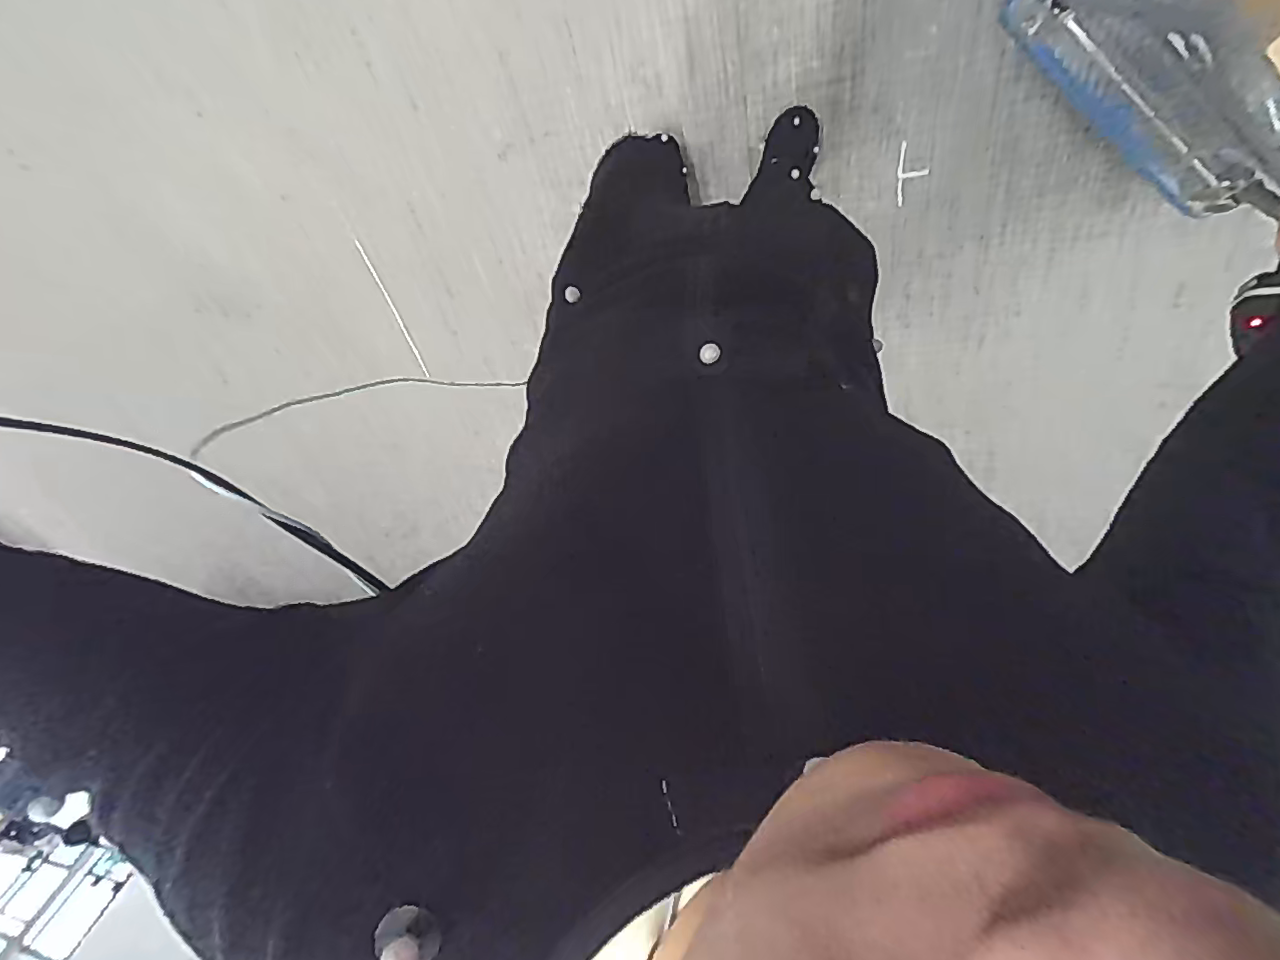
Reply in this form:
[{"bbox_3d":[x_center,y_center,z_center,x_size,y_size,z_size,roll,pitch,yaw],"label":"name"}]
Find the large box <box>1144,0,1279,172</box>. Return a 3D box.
[{"bbox_3d":[1.036,-0.665,0.707,0.320,0.320,0.408,31,130,-12],"label":"large box"}]
